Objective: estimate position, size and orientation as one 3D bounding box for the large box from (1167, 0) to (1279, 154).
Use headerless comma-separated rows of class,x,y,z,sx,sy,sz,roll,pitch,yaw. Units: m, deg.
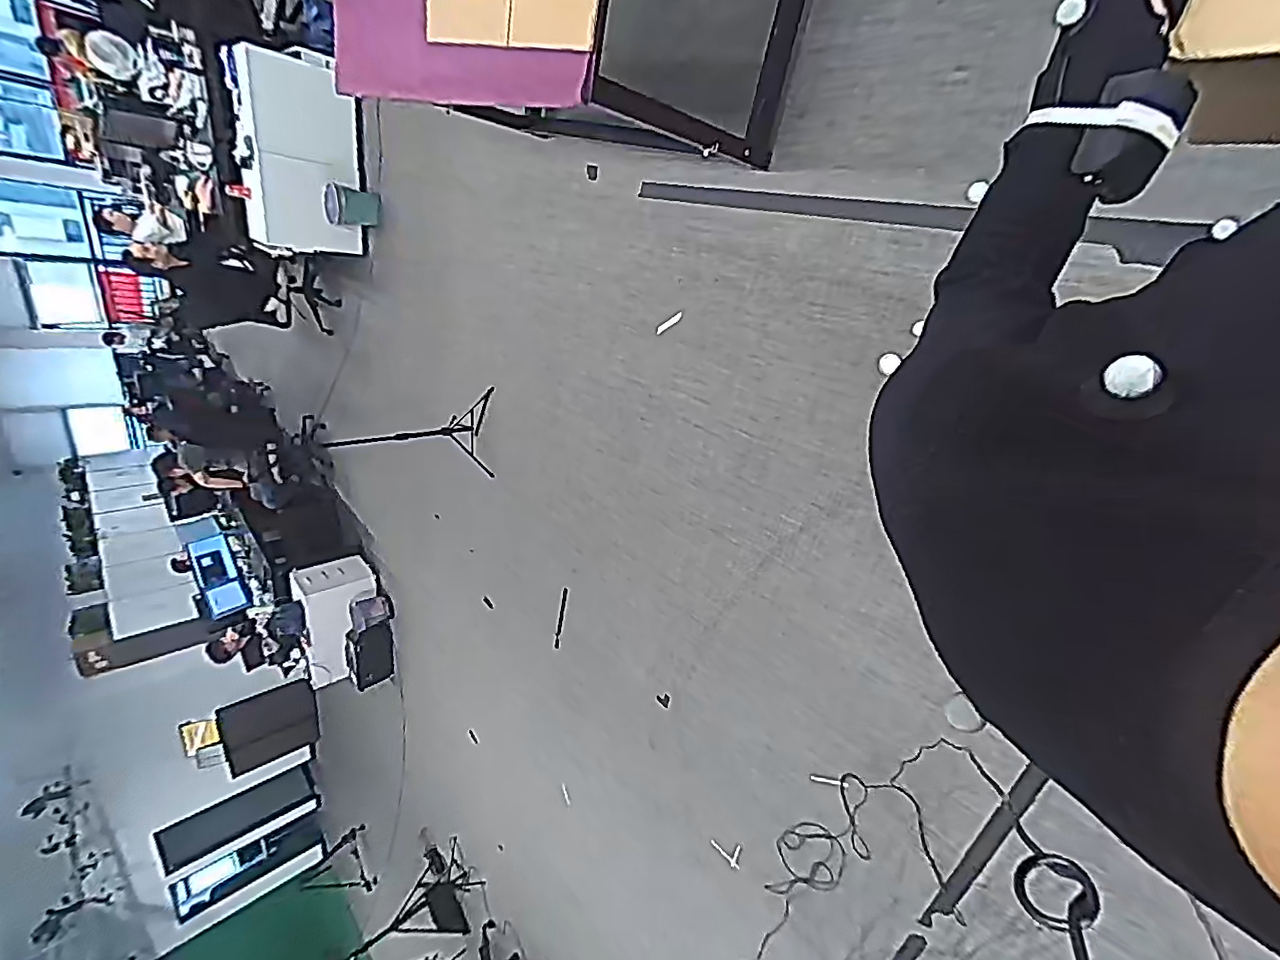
large box,0.618,-0.384,0.290,0.408,0.320,0.320,28,123,39
